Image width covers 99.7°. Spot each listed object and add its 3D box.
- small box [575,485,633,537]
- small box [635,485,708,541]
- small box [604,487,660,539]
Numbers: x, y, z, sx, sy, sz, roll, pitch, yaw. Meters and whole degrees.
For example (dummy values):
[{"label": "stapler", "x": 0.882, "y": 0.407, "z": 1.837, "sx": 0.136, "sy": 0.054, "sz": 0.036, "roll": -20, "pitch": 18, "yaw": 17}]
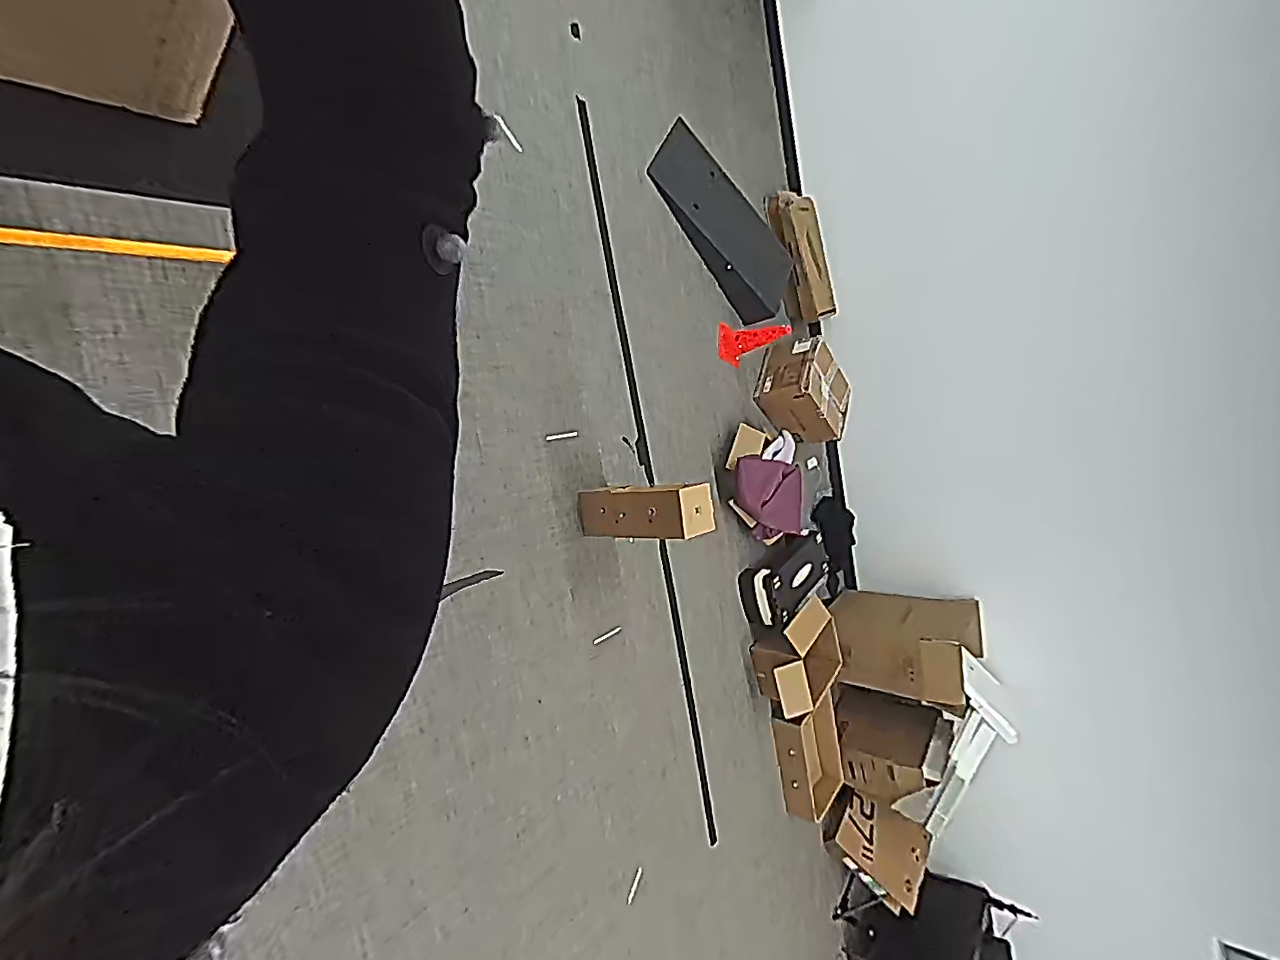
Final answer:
[{"label": "small box", "x": -0.133, "y": 0.118, "z": 2.063, "sx": 0.168, "sy": 0.176, "sz": 0.179, "roll": -11, "pitch": 96, "yaw": -48}, {"label": "small box", "x": 0.107, "y": 0.109, "z": 1.841, "sx": 0.179, "sy": 0.176, "sz": 0.168, "roll": -11, "pitch": 94, "yaw": -47}, {"label": "small box", "x": -0.005, "y": 0.115, "z": 1.958, "sx": 0.179, "sy": 0.176, "sz": 0.168, "roll": -11, "pitch": 95, "yaw": -48}]
